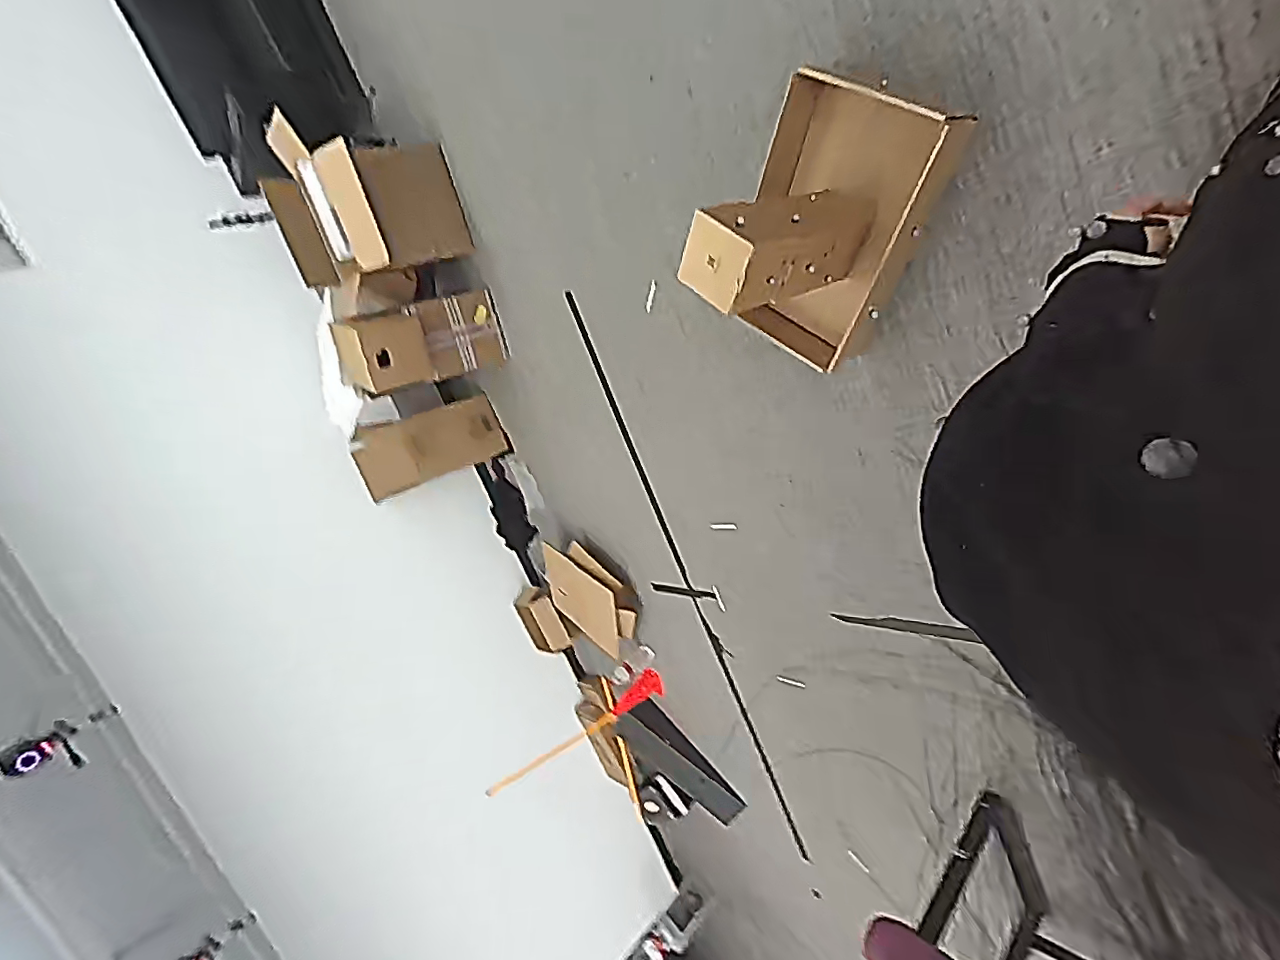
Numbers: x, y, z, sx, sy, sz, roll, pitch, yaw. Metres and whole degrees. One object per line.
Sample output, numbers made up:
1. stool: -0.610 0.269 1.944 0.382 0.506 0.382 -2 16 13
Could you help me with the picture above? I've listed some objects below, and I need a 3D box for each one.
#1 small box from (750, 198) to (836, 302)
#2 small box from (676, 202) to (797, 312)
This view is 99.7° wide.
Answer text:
1. small box: 0.340 -0.566 1.317 0.179 0.176 0.168 45 142 22
2. small box: 0.217 -0.511 1.225 0.179 0.176 0.168 45 142 23
